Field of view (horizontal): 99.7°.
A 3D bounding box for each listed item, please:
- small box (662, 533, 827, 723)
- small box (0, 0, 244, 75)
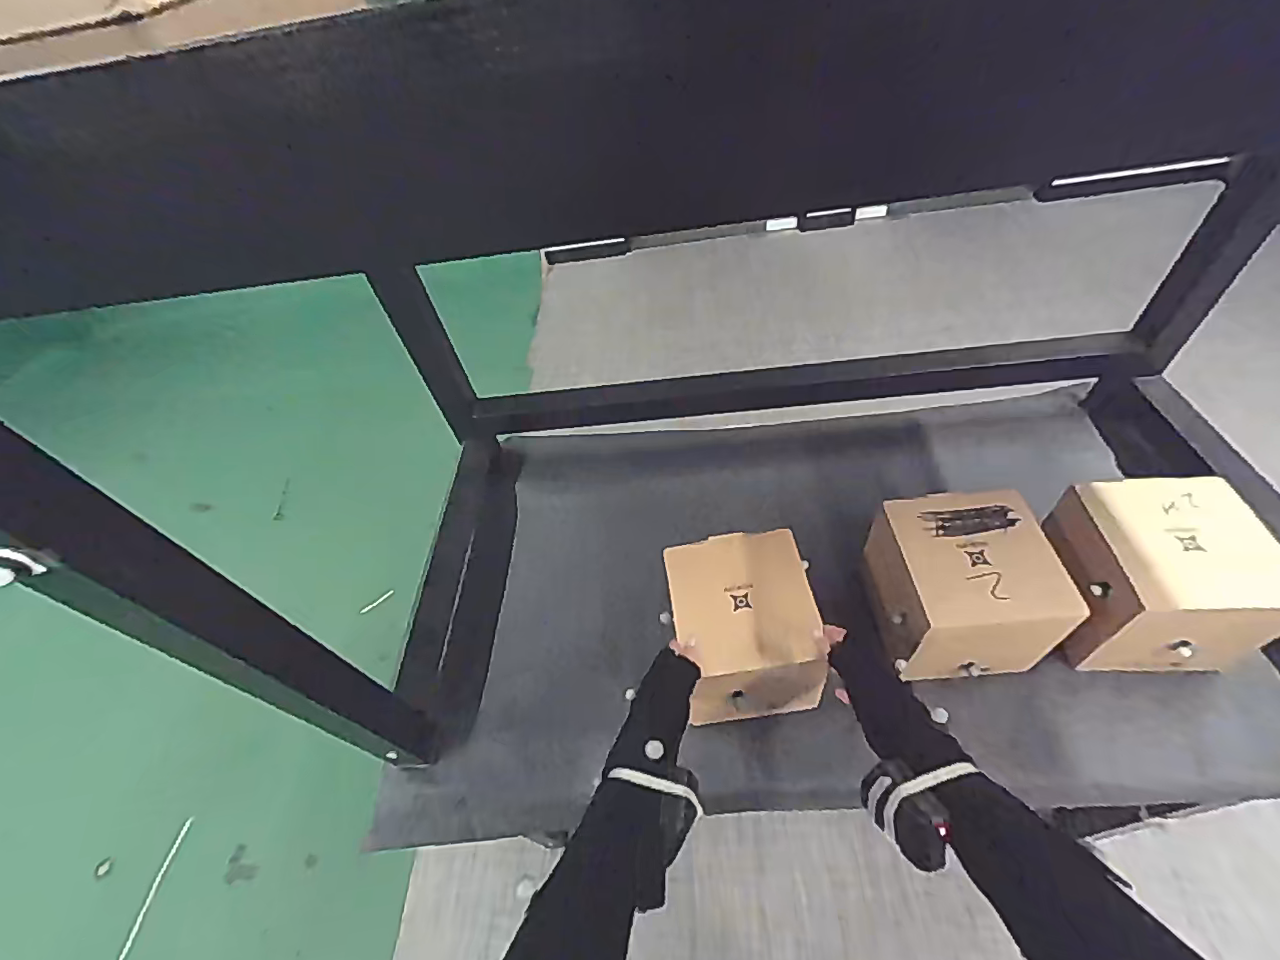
[{"bbox_3d":[0.127,0.197,0.694,0.168,0.176,0.179,-9,48,2],"label":"small box"},{"bbox_3d":[-0.249,-0.254,0.179,0.168,0.176,0.179,-4,50,7],"label":"small box"}]
